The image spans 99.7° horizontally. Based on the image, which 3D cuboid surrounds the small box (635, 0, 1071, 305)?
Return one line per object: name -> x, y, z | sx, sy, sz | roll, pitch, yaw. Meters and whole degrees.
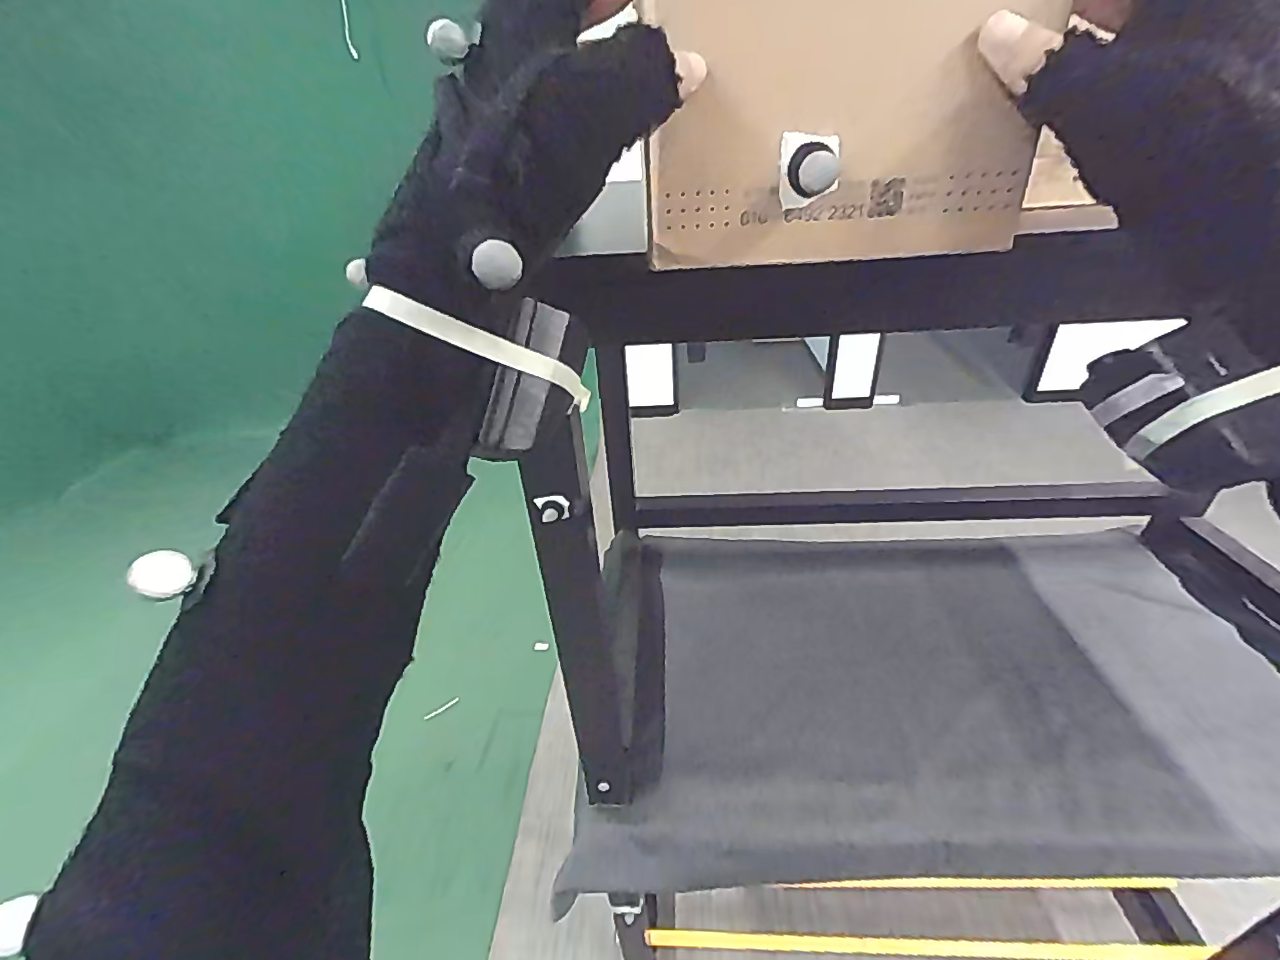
small box -> 0.082, -0.197, 0.290 | 0.168, 0.176, 0.179 | -4, 30, 2
